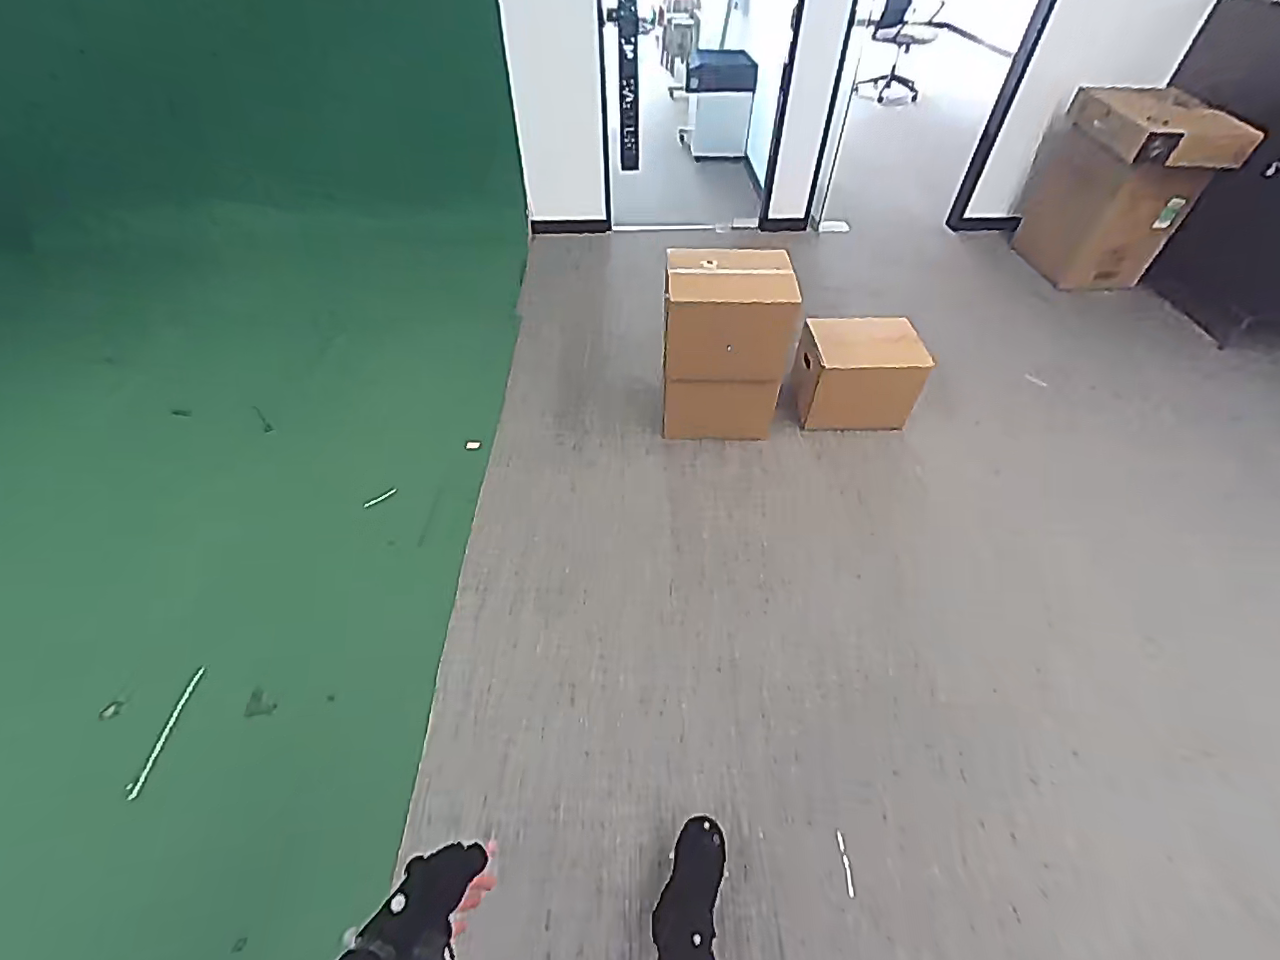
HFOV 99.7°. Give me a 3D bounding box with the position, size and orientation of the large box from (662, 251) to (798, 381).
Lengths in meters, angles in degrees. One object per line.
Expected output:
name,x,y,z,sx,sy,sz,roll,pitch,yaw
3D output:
large box,0.280,-0.549,1.820,0.408,0.320,0.320,0,51,1
